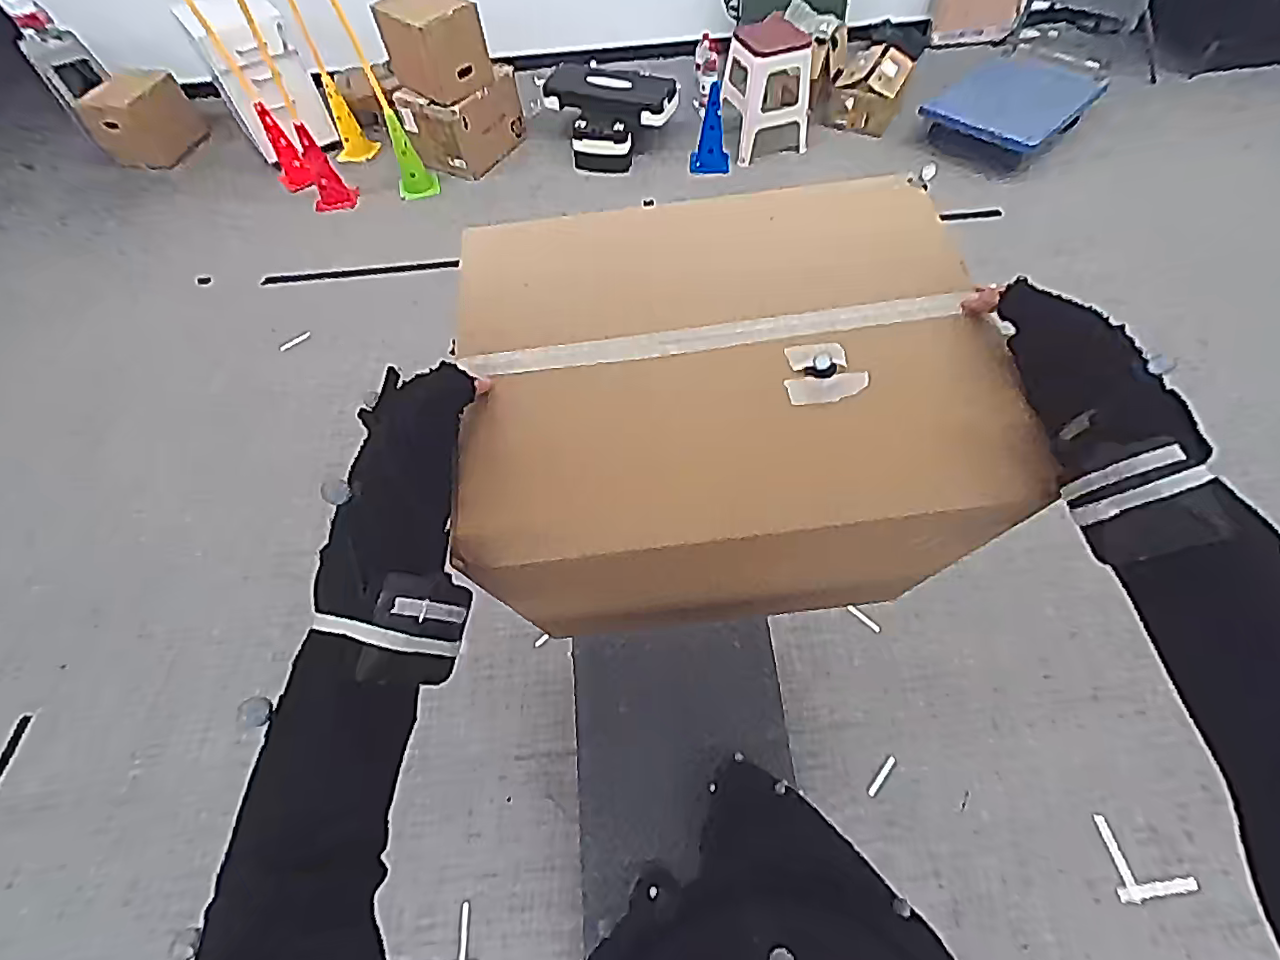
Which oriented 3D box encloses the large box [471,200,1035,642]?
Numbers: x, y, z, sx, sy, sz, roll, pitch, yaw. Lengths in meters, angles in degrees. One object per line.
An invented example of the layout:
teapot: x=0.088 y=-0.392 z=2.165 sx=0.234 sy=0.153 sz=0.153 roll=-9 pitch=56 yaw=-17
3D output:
large box: x=0.068 y=-0.034 z=0.570 sx=0.408 sy=0.320 sz=0.320 roll=-7 pitch=65 yaw=0
